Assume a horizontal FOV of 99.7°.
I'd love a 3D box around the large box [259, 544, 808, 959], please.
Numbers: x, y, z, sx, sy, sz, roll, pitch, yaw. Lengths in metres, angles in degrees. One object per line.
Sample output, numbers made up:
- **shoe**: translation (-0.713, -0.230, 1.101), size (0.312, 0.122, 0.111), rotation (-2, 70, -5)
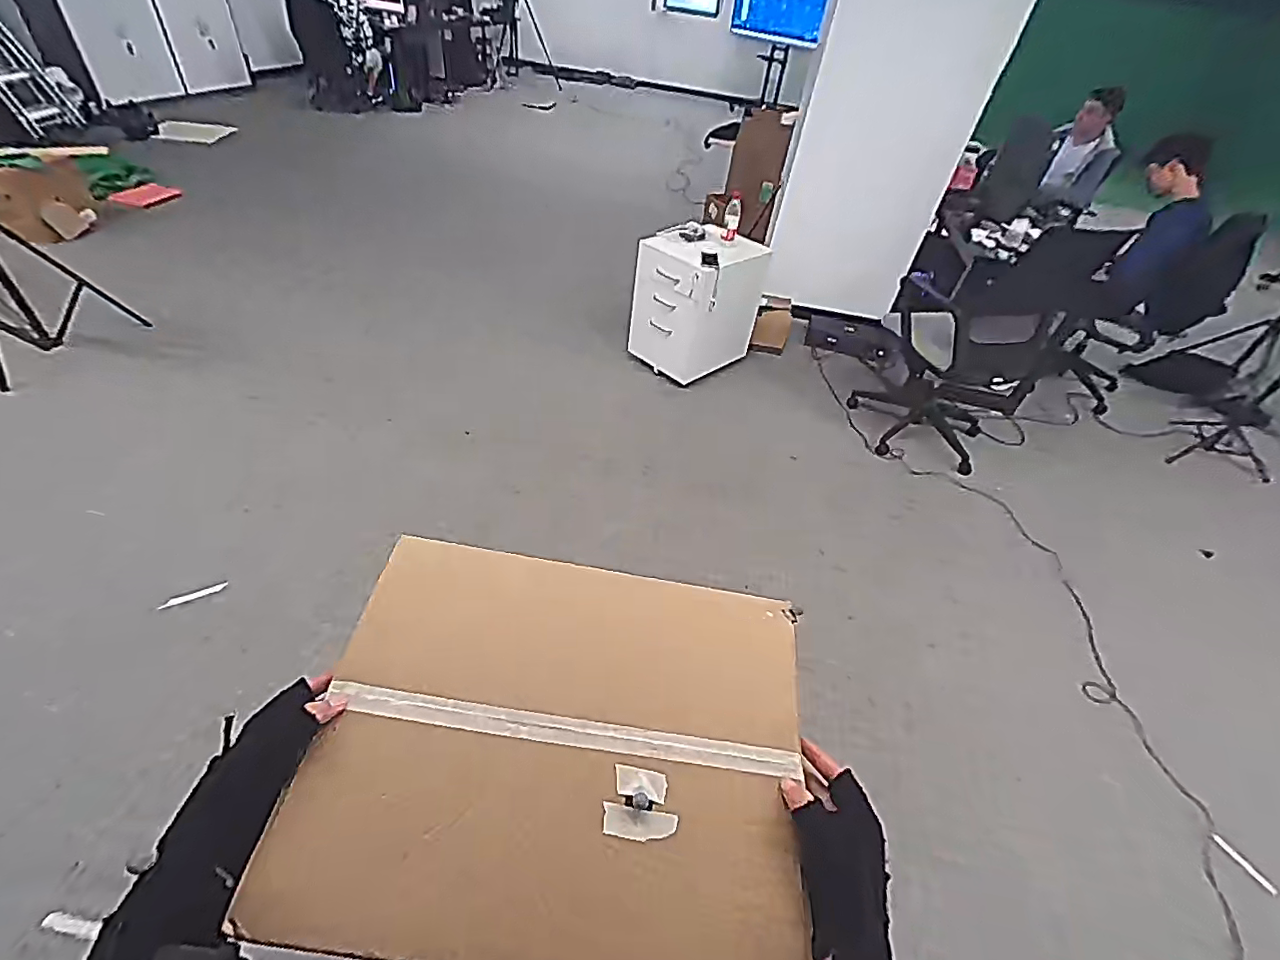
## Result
- **large box**: translation (-0.079, 0.305, 0.591), size (0.408, 0.320, 0.320), rotation (11, 52, -3)
